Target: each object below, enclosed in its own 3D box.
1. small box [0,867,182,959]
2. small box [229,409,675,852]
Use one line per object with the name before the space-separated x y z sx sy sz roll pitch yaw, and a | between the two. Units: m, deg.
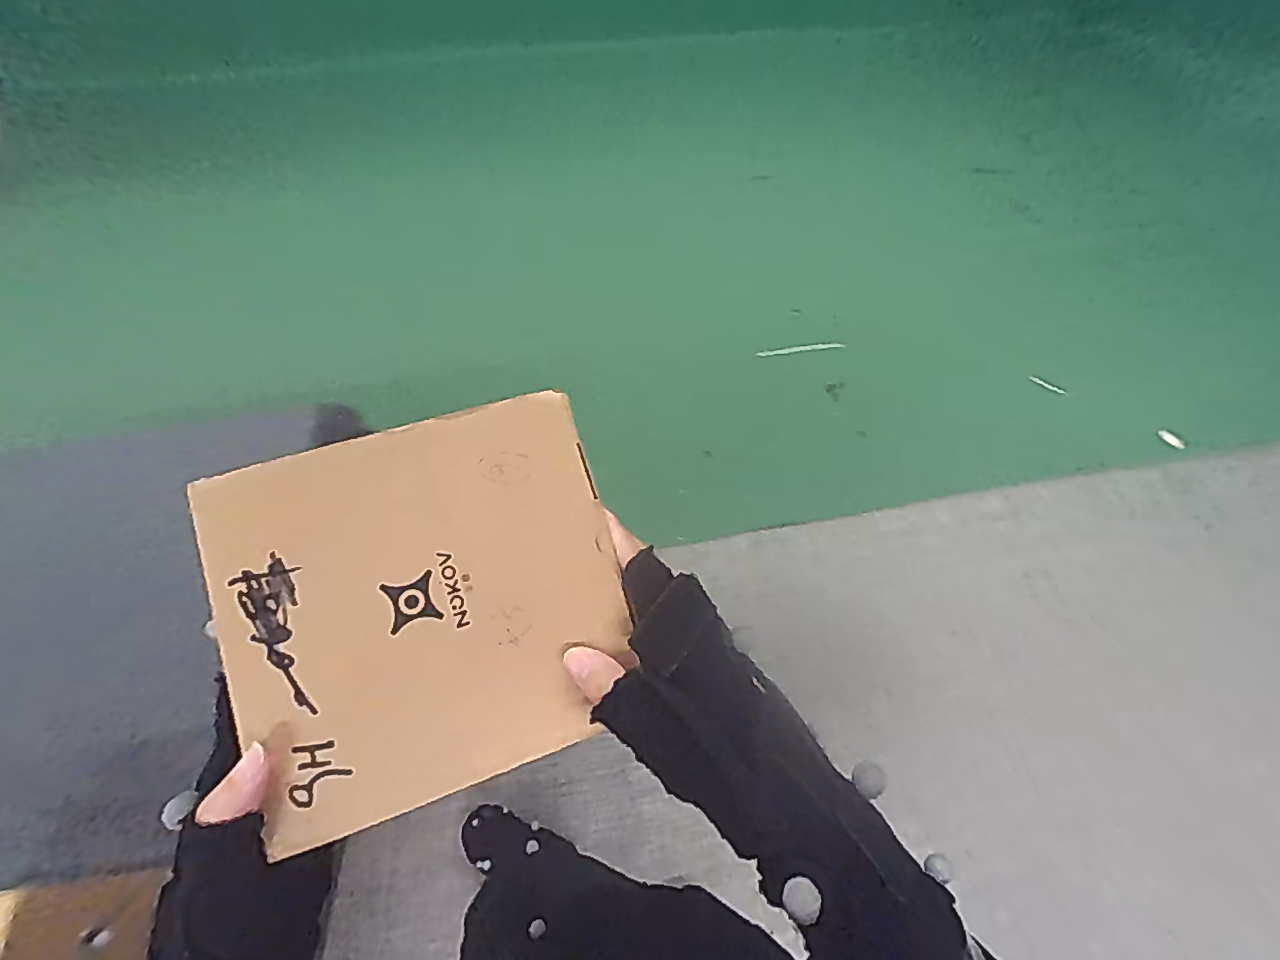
small box | -0.518 0.430 0.428 0.168 0.176 0.179 -12 61 -5
small box | -0.099 0.074 0.331 0.179 0.176 0.168 -15 80 -12
